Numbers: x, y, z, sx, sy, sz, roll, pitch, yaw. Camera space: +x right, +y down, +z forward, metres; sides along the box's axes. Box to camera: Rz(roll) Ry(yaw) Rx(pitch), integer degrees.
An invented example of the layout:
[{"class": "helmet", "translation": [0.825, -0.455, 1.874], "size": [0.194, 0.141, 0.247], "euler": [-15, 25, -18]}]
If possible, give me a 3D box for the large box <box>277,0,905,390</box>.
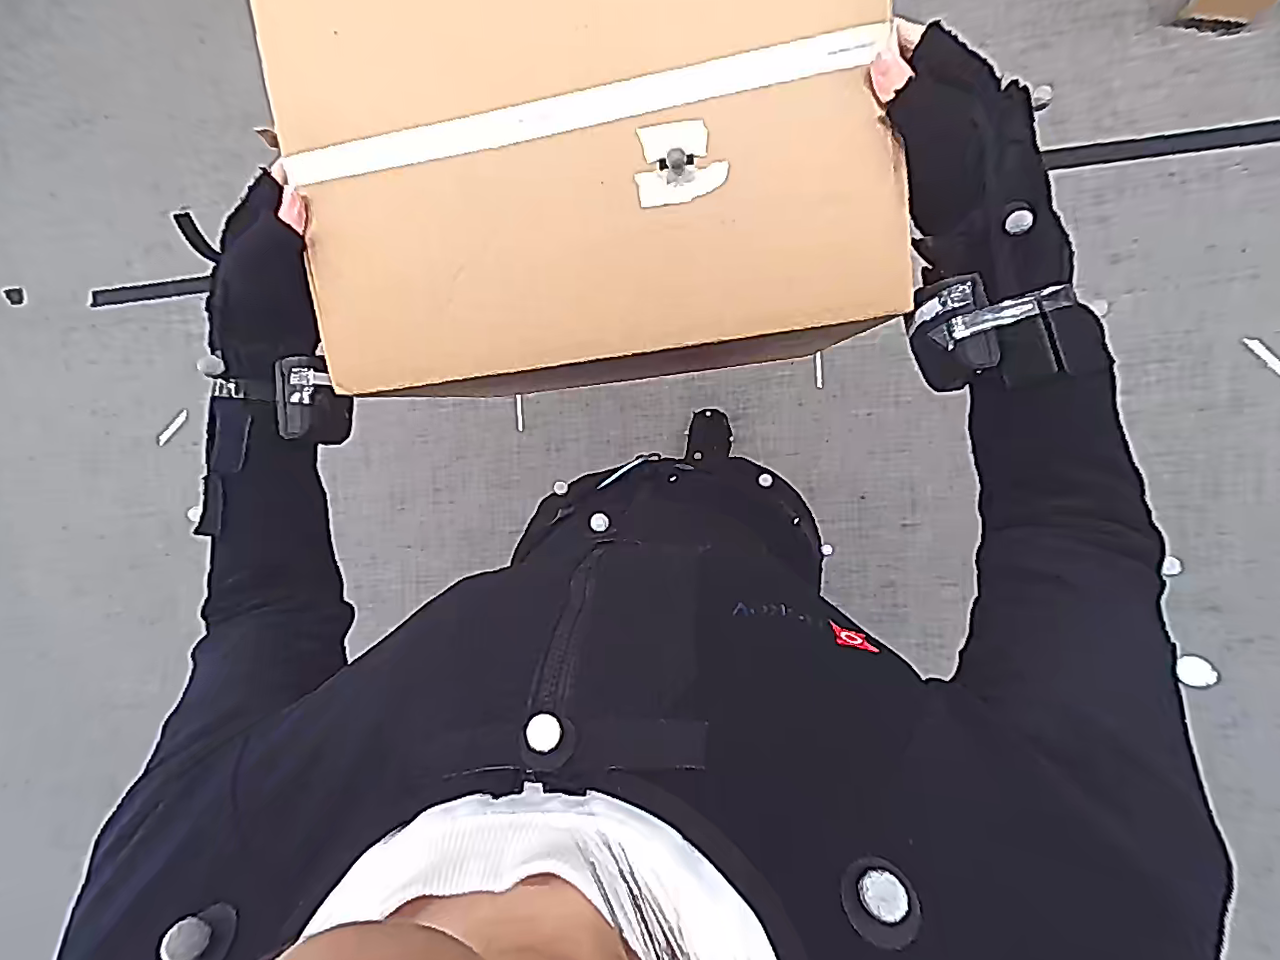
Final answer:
[{"class": "large box", "translation": [-0.026, -0.270, 0.510], "size": [0.408, 0.320, 0.320], "euler": [-7, 99, 7]}]
